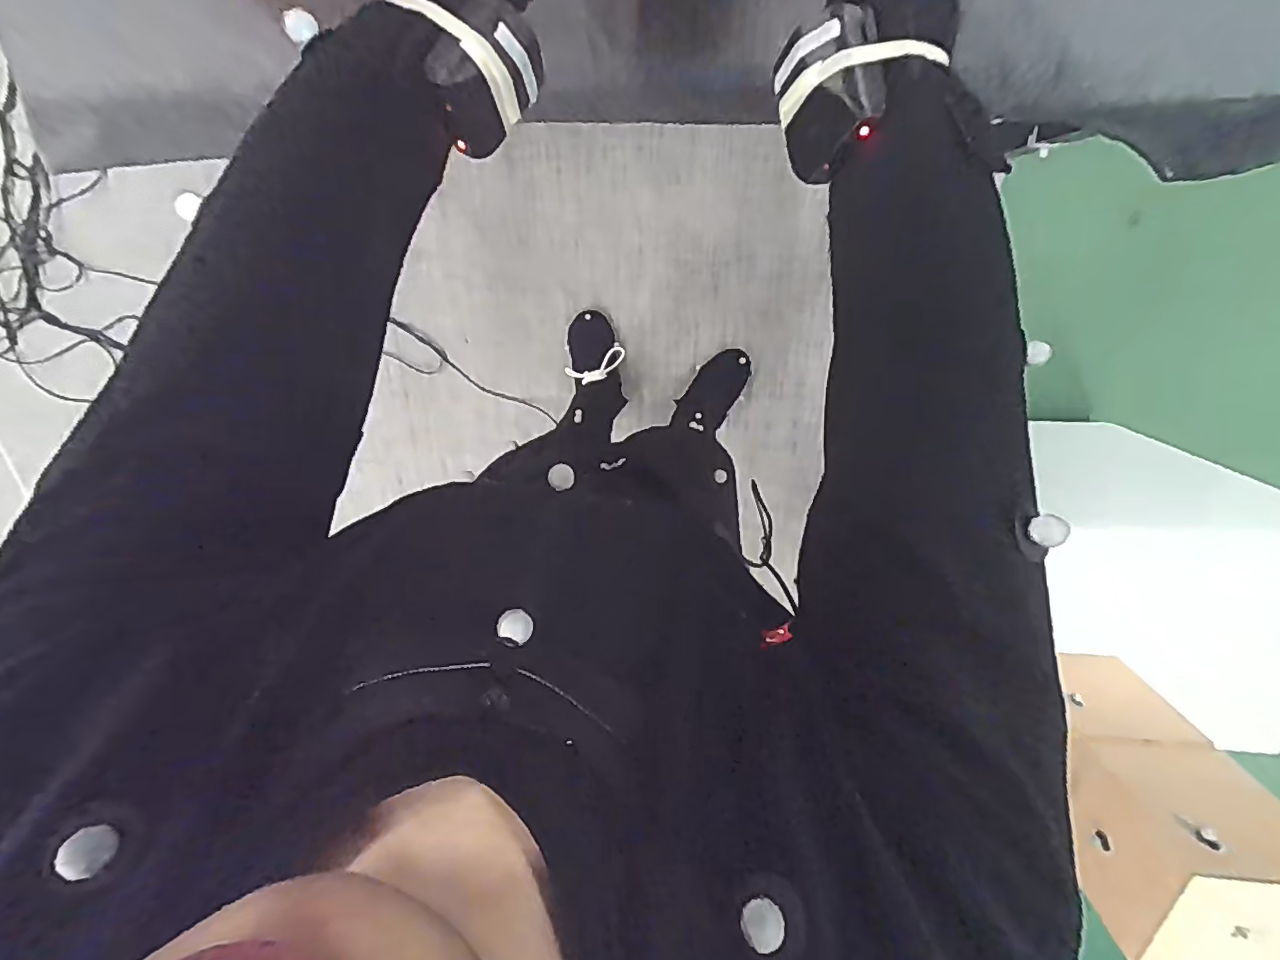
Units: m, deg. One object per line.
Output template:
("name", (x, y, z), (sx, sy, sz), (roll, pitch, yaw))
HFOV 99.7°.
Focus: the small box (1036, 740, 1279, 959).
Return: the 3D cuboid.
("small box", (0.629, 0.440, 0.648), (0.179, 0.176, 0.168), (3, 113, 1))
